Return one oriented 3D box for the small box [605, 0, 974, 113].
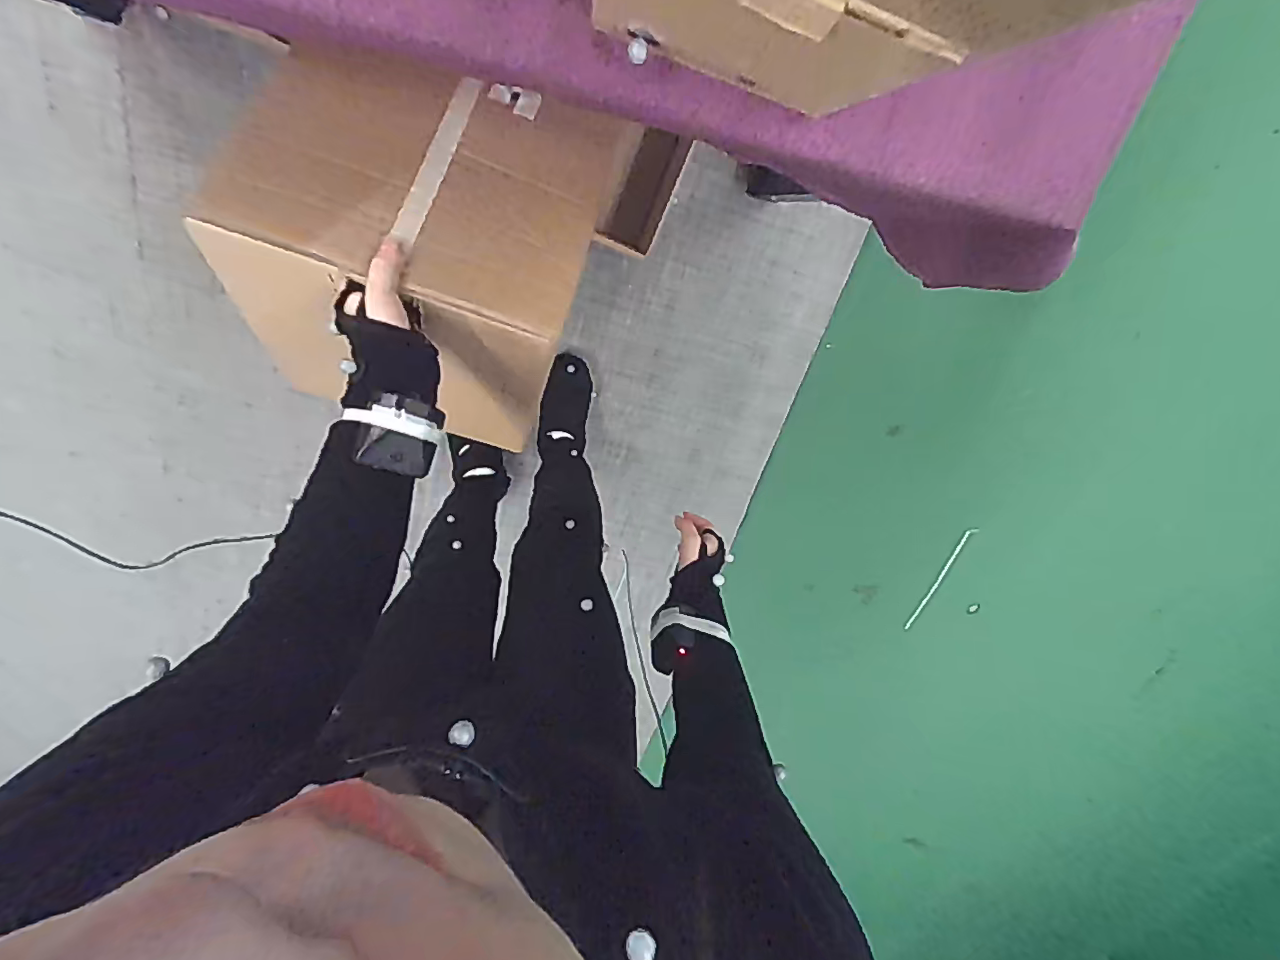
[{"bbox_3d":[0.081,-0.306,0.256,0.168,0.176,0.179,13,114,-13],"label":"small box"}]
